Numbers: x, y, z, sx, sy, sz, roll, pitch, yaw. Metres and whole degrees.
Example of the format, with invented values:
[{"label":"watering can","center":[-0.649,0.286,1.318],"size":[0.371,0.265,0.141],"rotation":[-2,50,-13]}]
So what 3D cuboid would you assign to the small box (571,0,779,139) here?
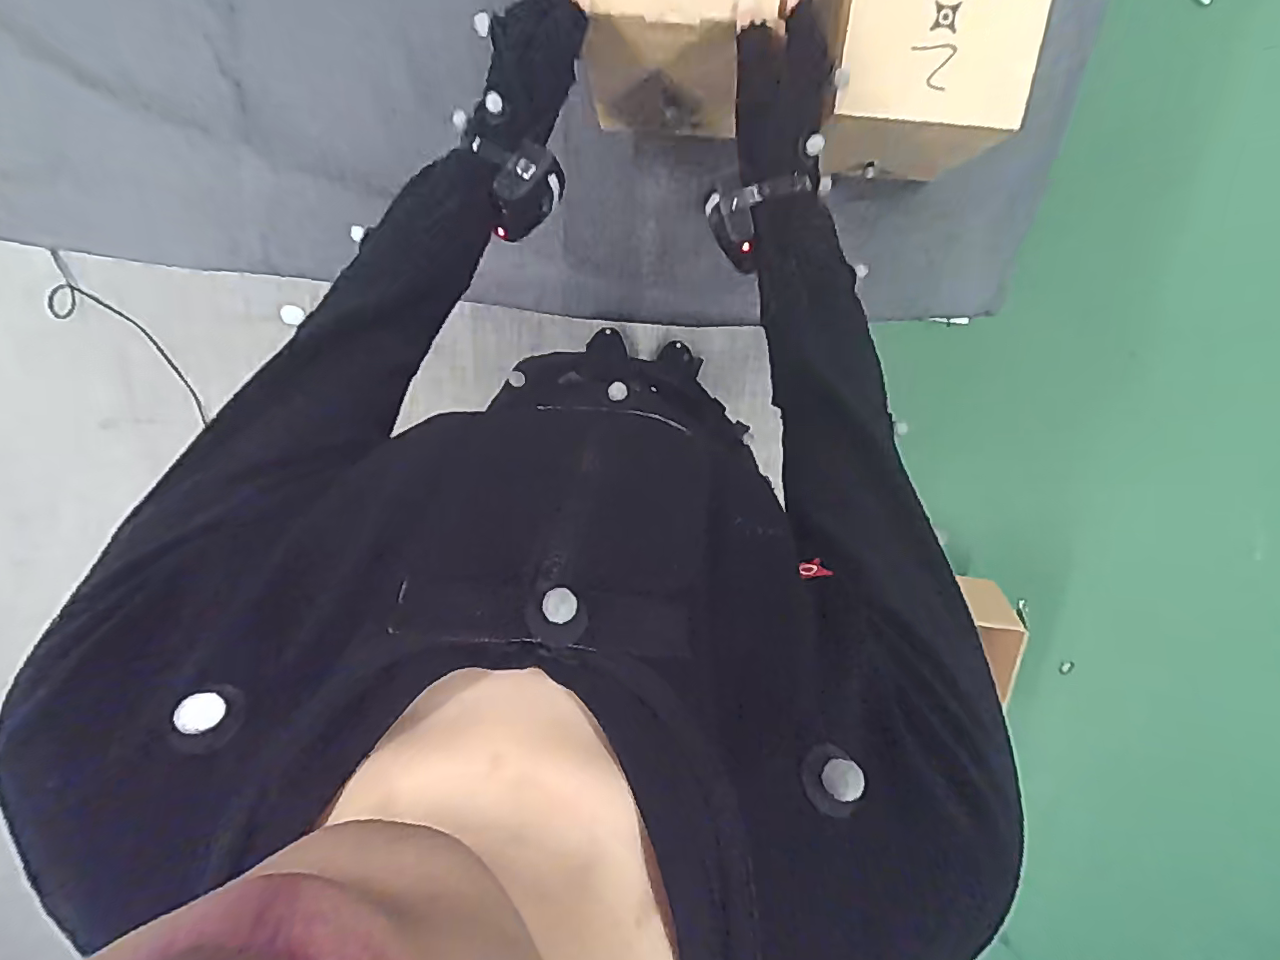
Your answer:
[{"label":"small box","center":[0.040,-0.452,0.493],"size":[0.168,0.176,0.179],"rotation":[7,95,4]}]
